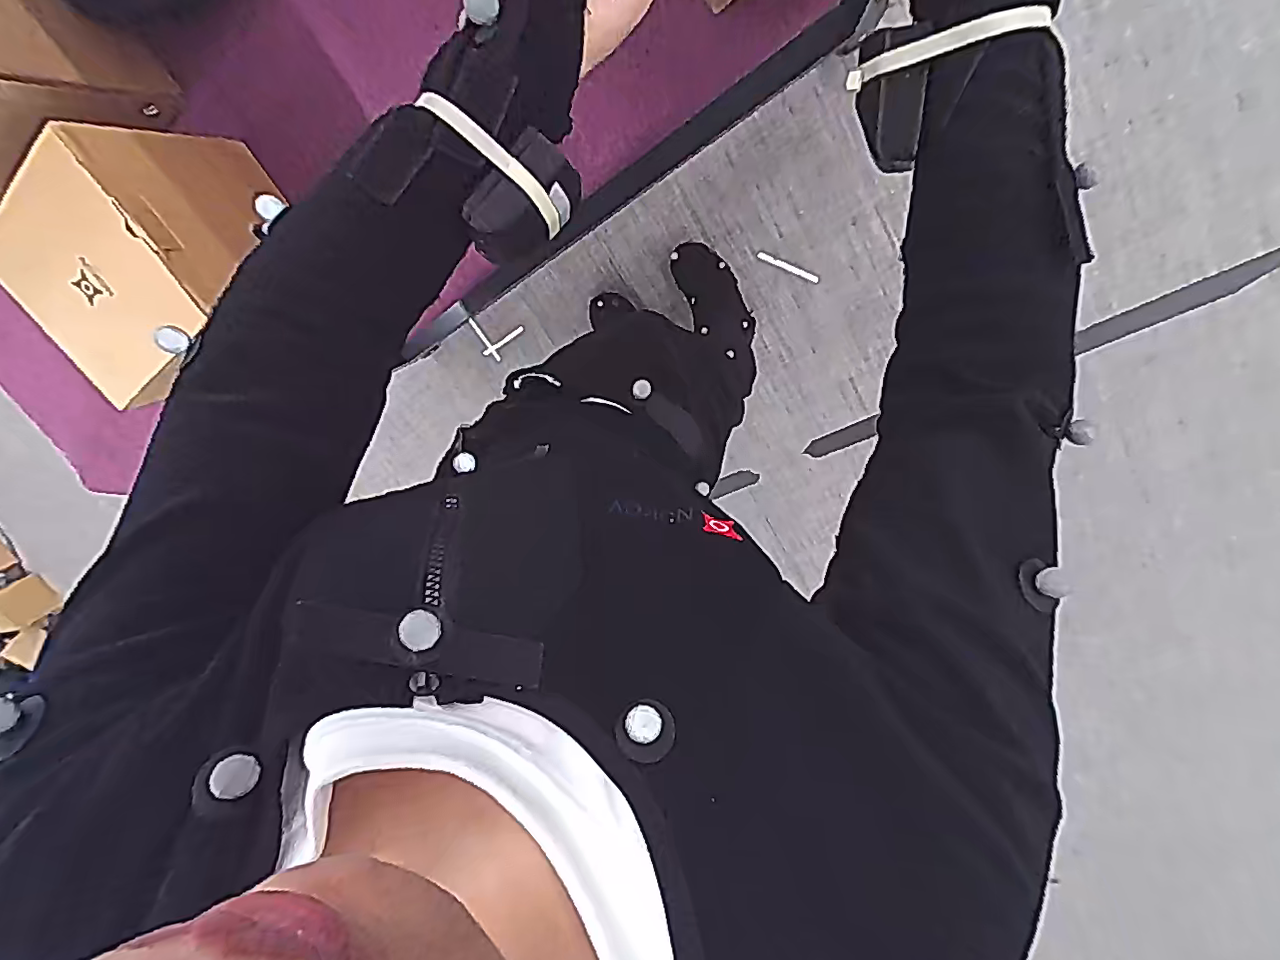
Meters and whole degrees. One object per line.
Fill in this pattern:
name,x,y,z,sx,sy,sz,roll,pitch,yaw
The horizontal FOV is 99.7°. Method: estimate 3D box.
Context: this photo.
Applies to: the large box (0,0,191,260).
large box,-0.692,-0.412,0.400,0.320,0.320,0.408,-23,113,25
